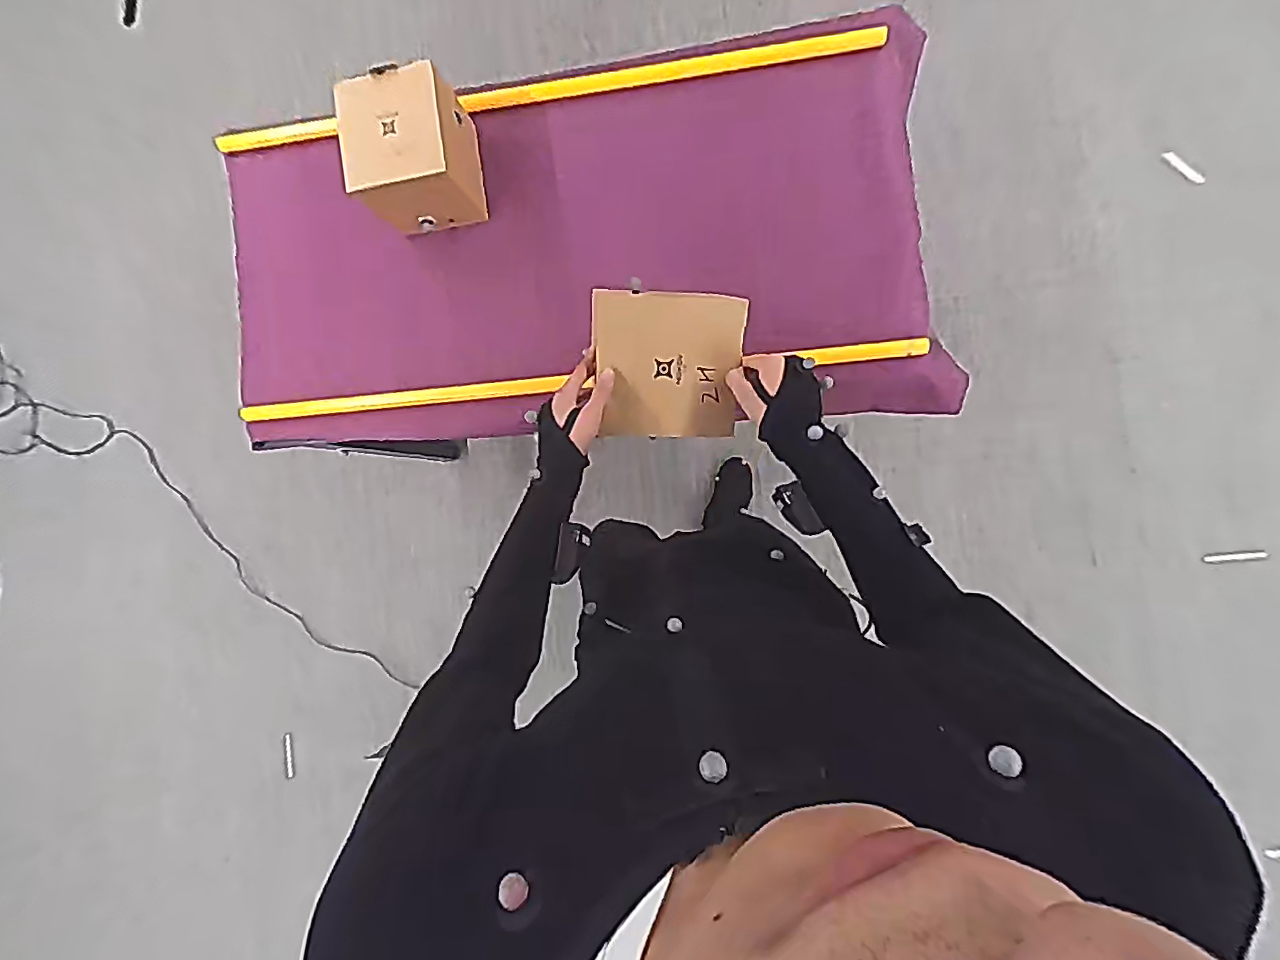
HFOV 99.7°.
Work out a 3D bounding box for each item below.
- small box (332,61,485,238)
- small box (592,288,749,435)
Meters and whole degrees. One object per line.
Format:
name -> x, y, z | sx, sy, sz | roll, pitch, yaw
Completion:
small box -> -0.374, -0.535, 0.898 | 0.168, 0.176, 0.179 | -8, 89, 7
small box -> 0.026, -0.161, 0.709 | 0.179, 0.176, 0.168 | 0, 111, -7
